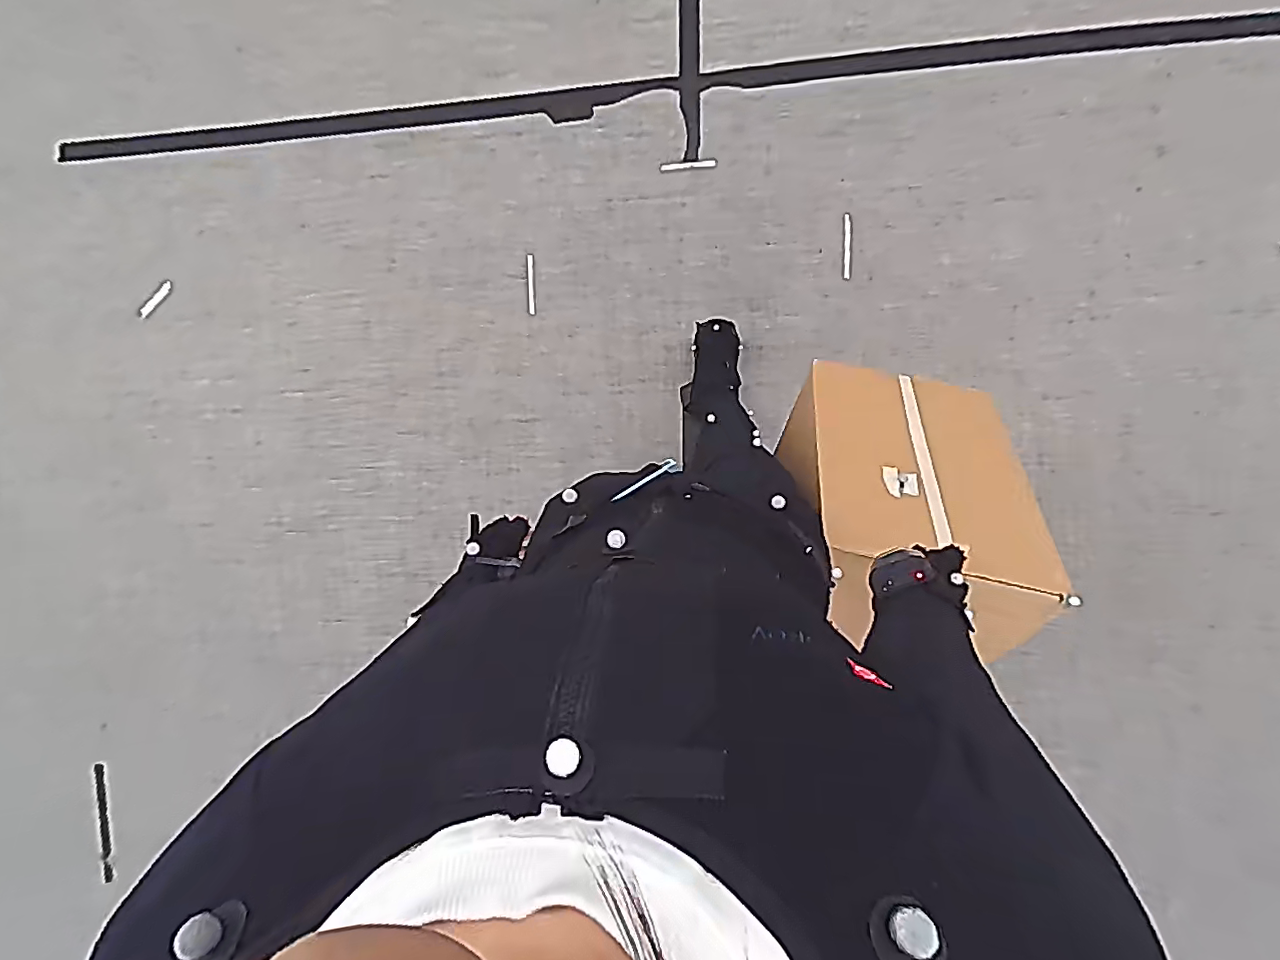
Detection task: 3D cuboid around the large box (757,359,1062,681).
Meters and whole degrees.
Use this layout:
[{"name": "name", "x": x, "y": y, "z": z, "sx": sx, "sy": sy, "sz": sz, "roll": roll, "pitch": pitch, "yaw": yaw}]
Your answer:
[{"name": "large box", "x": 0.390, "y": 0.062, "z": 0.908, "sx": 0.320, "sy": 0.408, "sz": 0.320, "roll": 11, "pitch": 140, "yaw": 4}]
